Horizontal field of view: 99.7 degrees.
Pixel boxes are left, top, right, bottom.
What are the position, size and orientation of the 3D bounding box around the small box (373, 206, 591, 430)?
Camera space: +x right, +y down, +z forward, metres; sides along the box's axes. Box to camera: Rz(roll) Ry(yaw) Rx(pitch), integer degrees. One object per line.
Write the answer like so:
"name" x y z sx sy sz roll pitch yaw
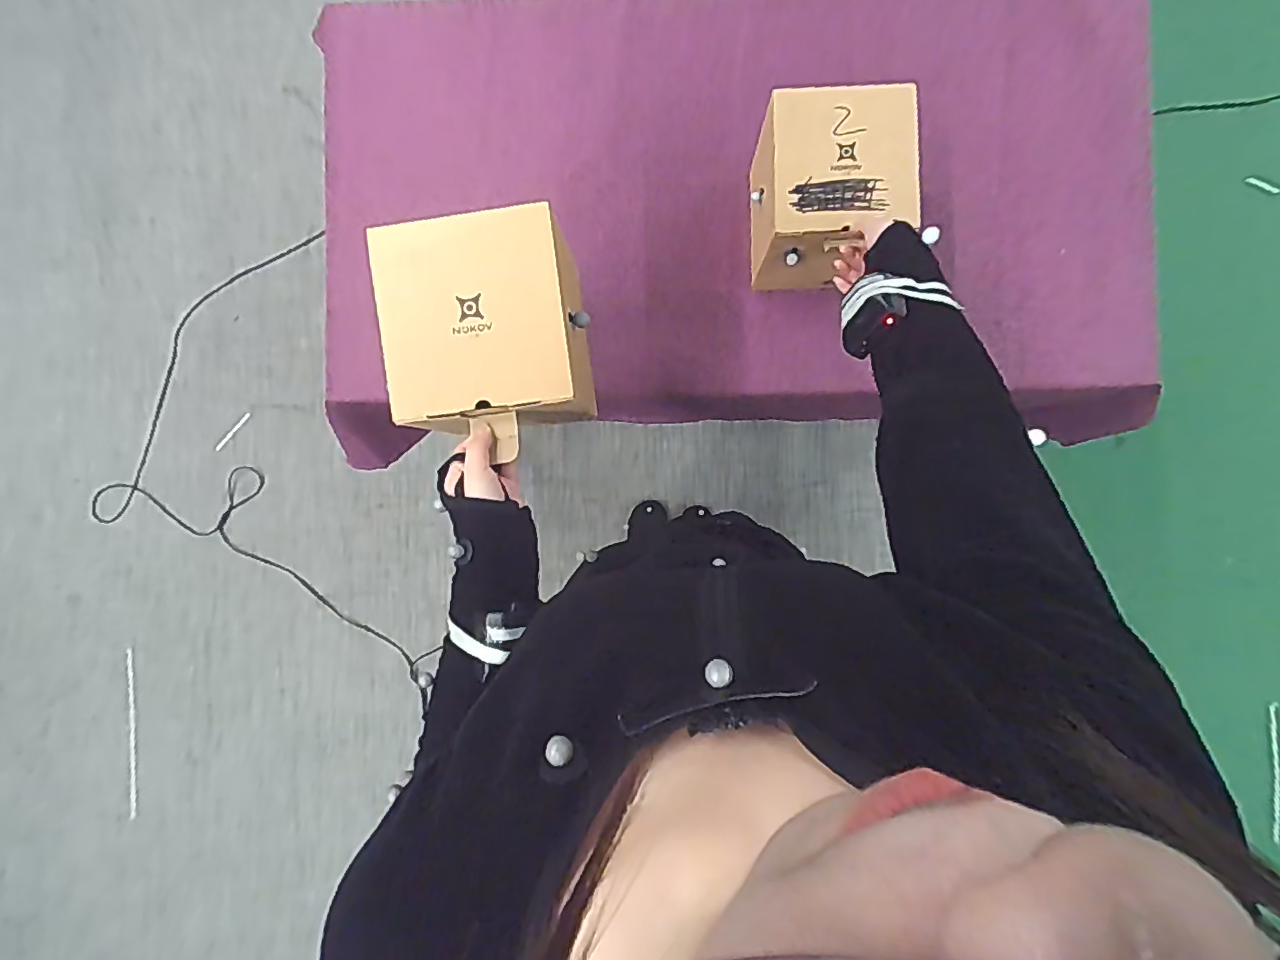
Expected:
"small box" -0.150 -0.154 0.570 0.168 0.176 0.179 -8 92 2
